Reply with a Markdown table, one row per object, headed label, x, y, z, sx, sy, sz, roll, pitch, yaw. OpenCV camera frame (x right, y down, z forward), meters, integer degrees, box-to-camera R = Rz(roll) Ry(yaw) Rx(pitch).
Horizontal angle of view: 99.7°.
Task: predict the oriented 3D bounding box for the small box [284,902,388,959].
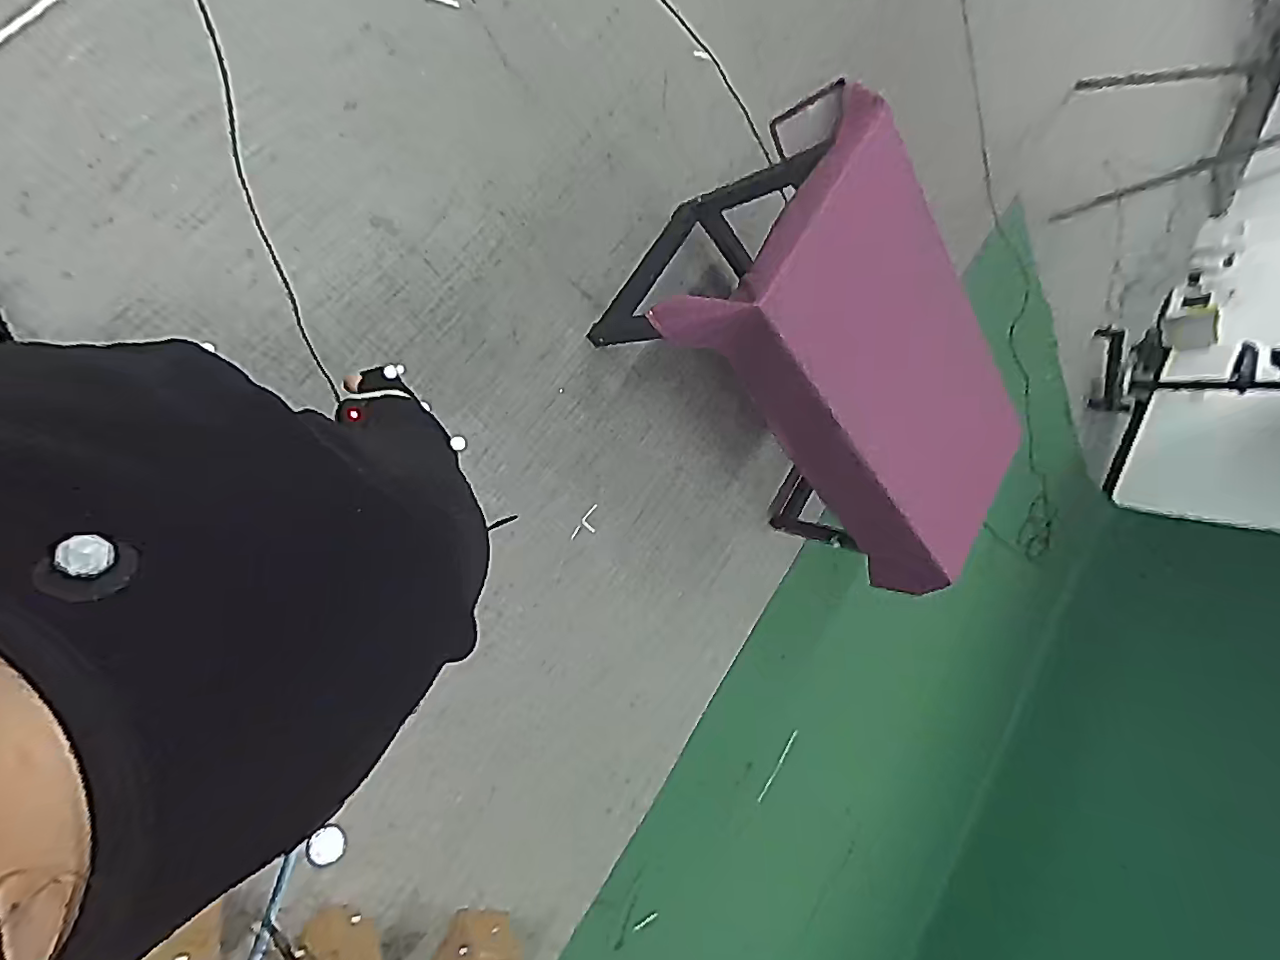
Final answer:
| label | x | y | z | sx | sy | sz | roll | pitch | yaw |
| --- | --- | --- | --- | --- | --- | --- | --- | --- | --- |
| small box | -0.792 | 1.251 | 1.403 | 0.168 | 0.176 | 0.179 | -48 | 121 | -18 |

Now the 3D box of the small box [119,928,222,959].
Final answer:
| label | x | y | z | sx | sy | sz | roll | pitch | yaw |
| --- | --- | --- | --- | --- | --- | --- | --- | --- | --- |
| small box | -0.951 | 1.022 | 1.050 | 0.168 | 0.176 | 0.179 | 39 | 76 | -32 |
